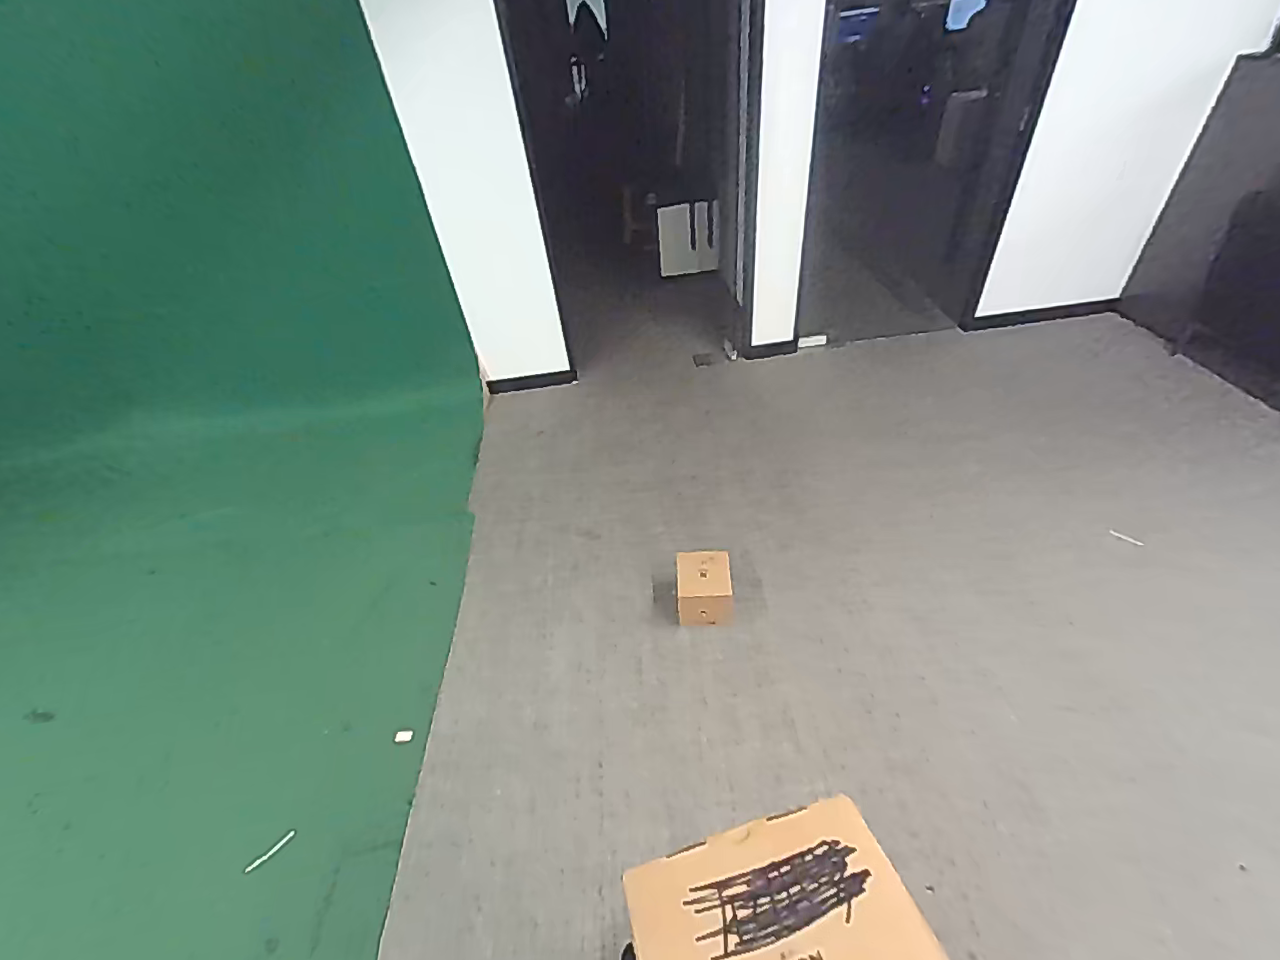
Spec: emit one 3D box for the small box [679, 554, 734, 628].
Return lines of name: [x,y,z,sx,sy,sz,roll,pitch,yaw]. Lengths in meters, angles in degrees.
small box: [0.212,0.358,1.730,0.168,0.176,0.179,-2,42,6]
